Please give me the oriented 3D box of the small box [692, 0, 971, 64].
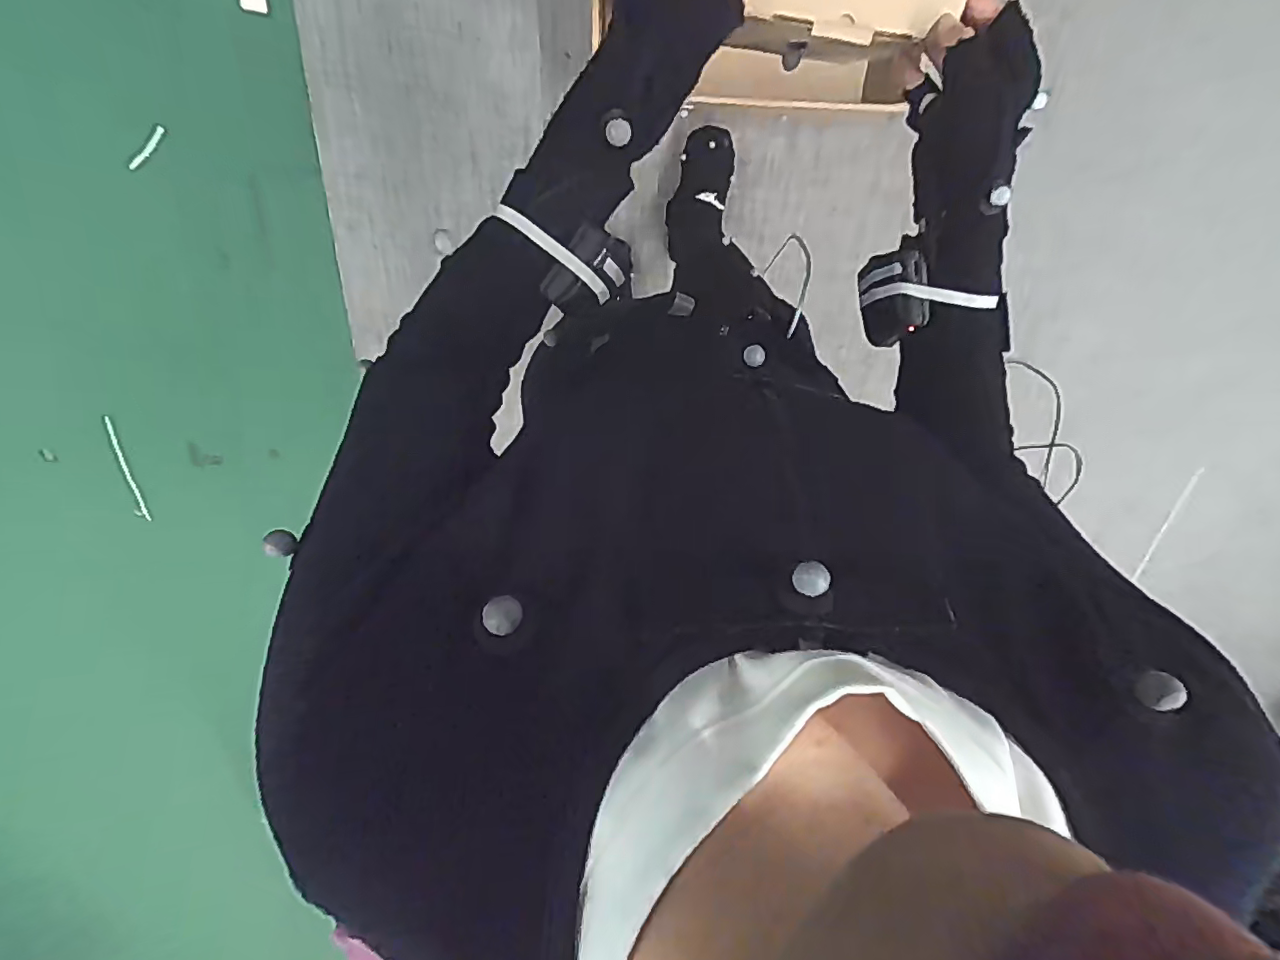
[{"bbox_3d":[0.139,-0.418,0.385,0.168,0.176,0.179,1,124,-10],"label":"small box"}]
